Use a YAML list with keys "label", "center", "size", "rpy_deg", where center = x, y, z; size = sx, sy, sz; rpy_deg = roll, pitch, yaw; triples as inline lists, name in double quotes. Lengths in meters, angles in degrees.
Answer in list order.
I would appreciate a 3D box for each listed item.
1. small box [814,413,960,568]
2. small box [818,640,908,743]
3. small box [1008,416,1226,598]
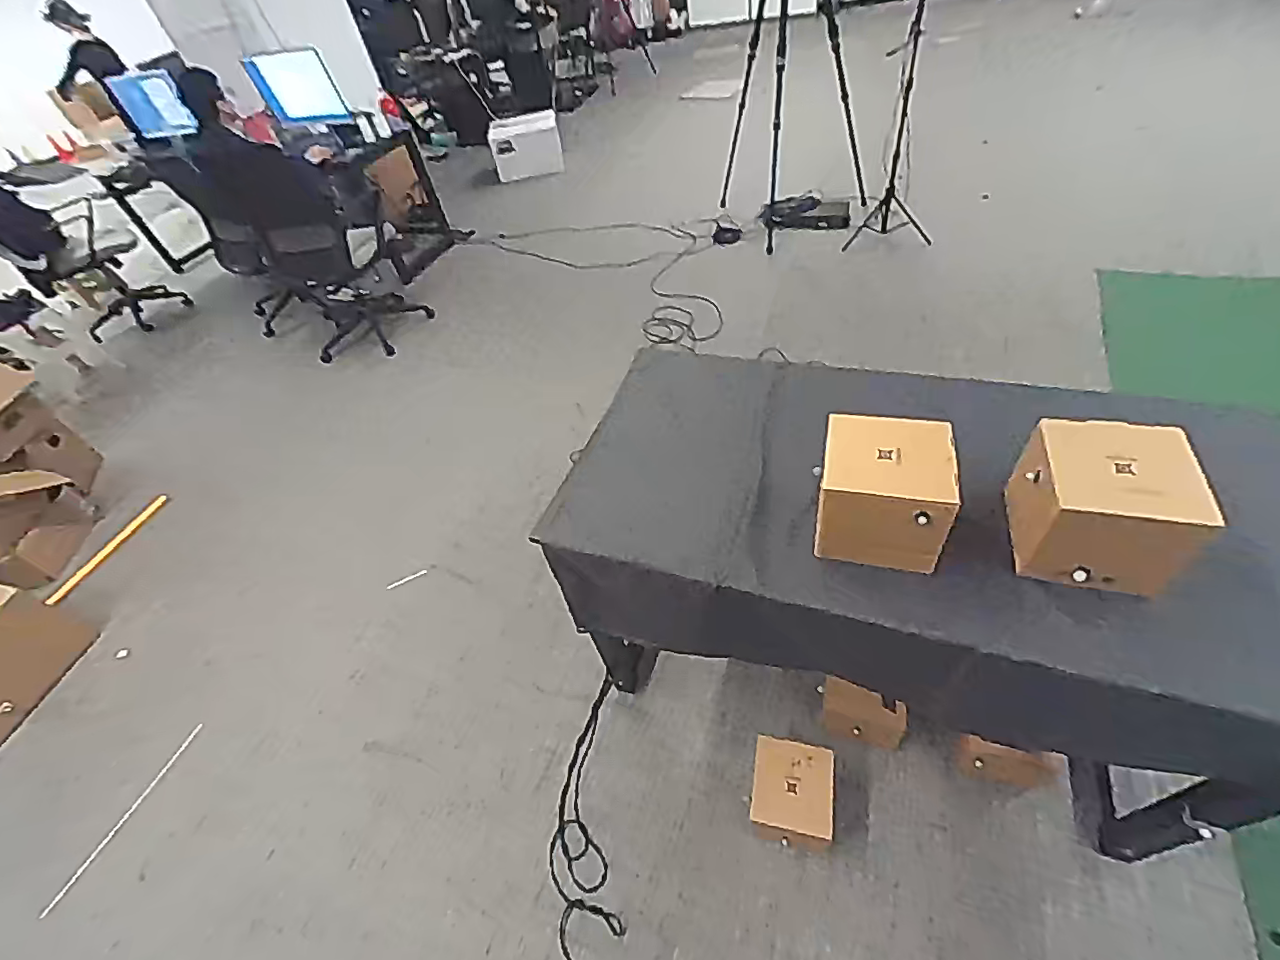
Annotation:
- label: "small box"
  center: [0.371, 0.017, 0.835]
  size: [0.179, 0.176, 0.168]
  rpy_deg: [7, 50, 17]
- label: "small box"
  center: [0.544, 0.524, 1.329]
  size: [0.179, 0.176, 0.168]
  rpy_deg: [9, 50, 20]
- label: "small box"
  center: [0.643, 0.036, 0.761]
  size: [0.168, 0.176, 0.179]
  rpy_deg: [8, 51, 19]
